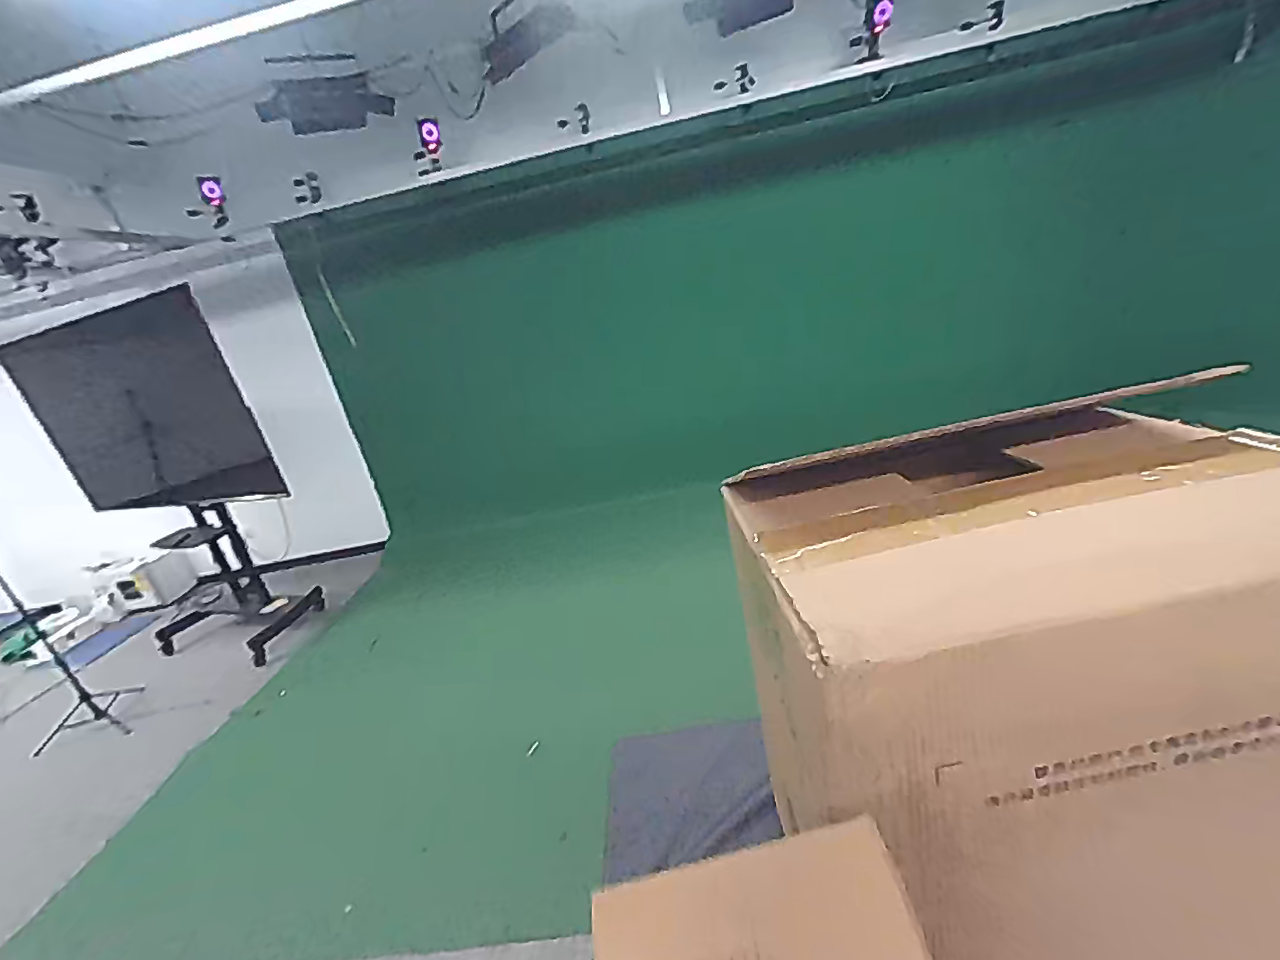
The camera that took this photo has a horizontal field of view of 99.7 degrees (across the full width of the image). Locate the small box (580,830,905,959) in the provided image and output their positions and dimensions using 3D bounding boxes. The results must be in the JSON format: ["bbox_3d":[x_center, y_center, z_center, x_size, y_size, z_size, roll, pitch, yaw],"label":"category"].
[{"bbox_3d":[0.081,0.331,0.304,0.168,0.176,0.179,-23,42,9],"label":"small box"}]
